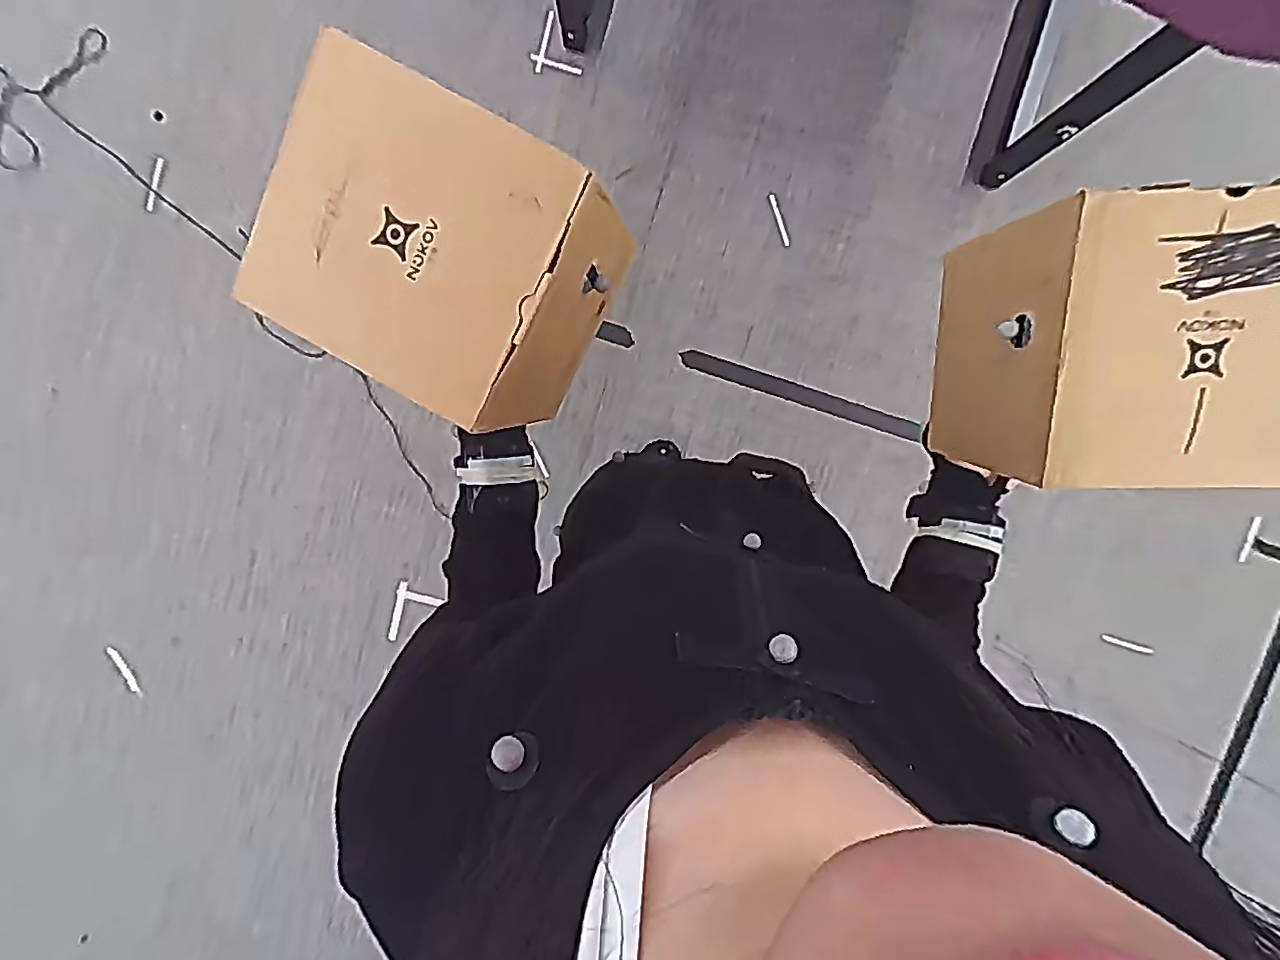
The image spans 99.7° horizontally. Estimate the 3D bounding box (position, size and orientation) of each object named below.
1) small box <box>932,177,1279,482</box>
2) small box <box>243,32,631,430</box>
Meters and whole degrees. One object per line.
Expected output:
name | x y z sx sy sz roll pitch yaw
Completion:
small box | 0.339 -0.099 0.399 0.168 0.176 0.179 -1 101 5
small box | -0.123 -0.154 0.392 0.179 0.176 0.168 29 102 3
